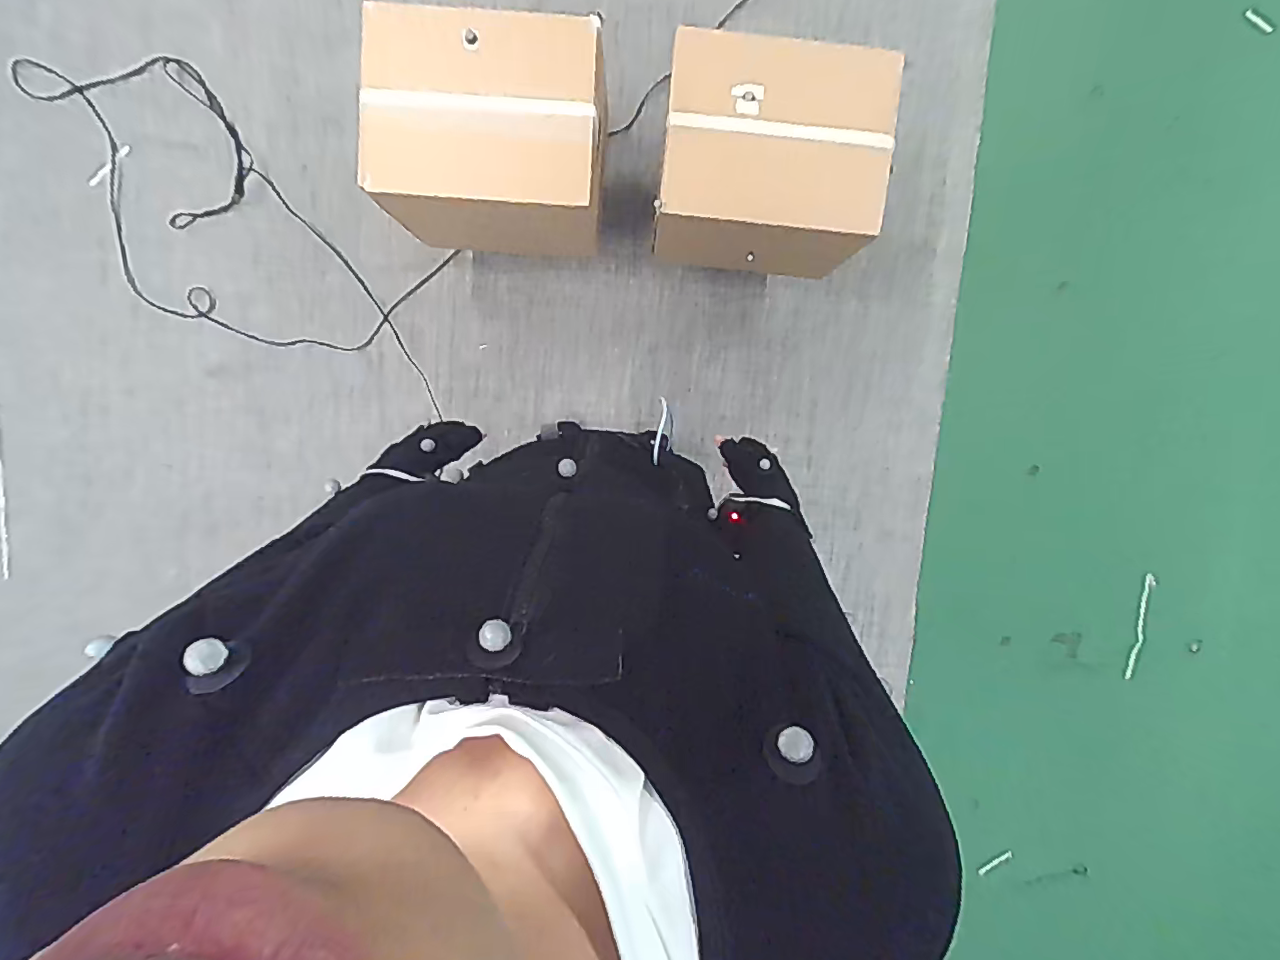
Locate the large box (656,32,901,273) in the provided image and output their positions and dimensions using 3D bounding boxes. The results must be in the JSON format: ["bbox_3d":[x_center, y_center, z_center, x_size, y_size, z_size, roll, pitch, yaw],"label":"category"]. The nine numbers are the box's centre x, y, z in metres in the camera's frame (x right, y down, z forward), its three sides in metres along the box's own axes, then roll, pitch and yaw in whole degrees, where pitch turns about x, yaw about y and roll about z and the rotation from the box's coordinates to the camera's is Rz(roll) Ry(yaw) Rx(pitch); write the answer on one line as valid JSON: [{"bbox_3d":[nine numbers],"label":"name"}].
[{"bbox_3d":[0.252,-0.636,1.116,0.408,0.320,0.320,6,96,-1],"label":"large box"}]
